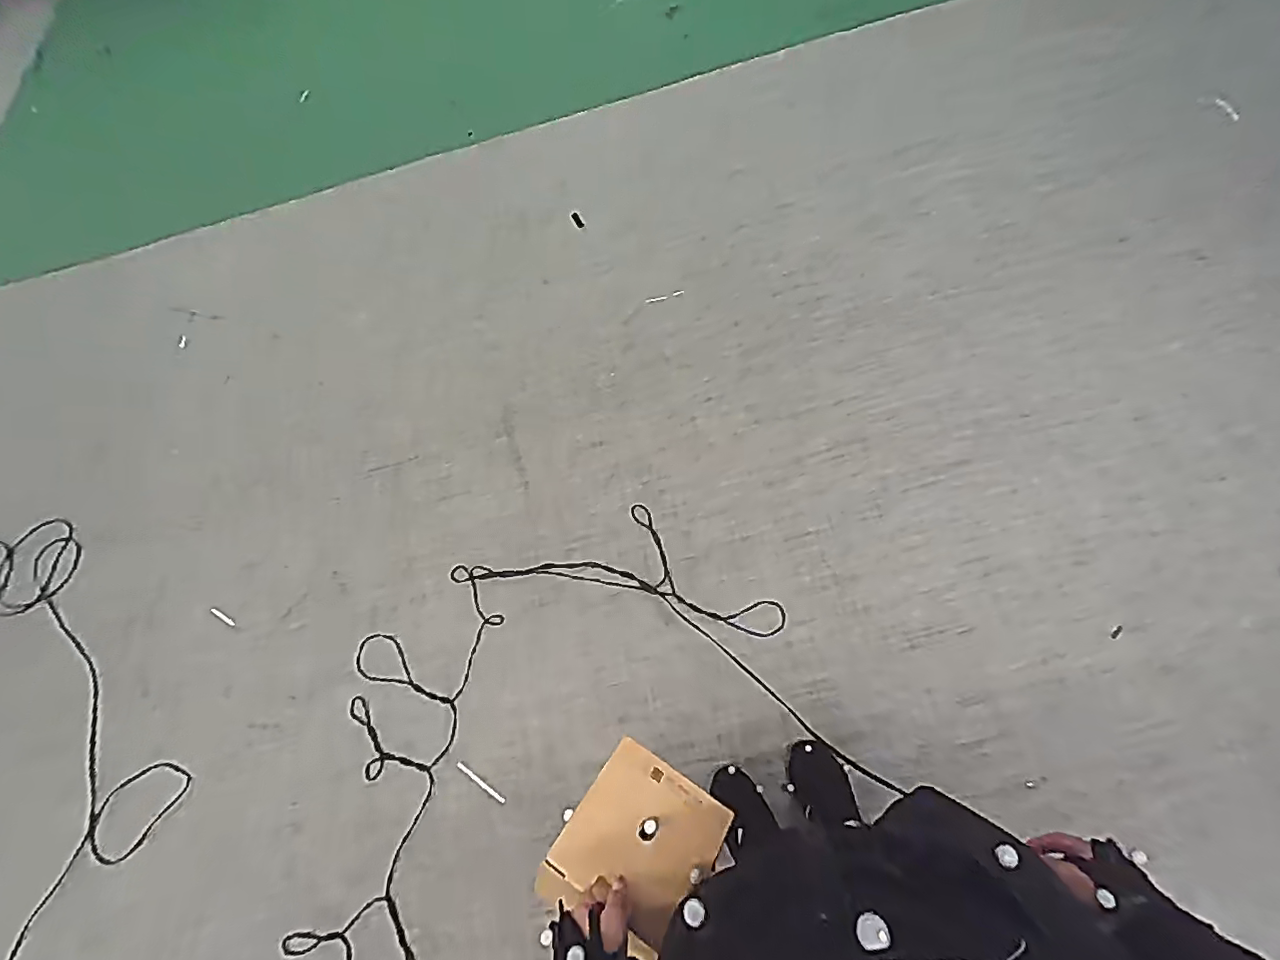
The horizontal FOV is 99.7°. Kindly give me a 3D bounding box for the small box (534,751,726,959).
[{"bbox_3d":[-0.010,0.482,0.680,0.168,0.179,0.176,30,43,16],"label":"small box"}]
